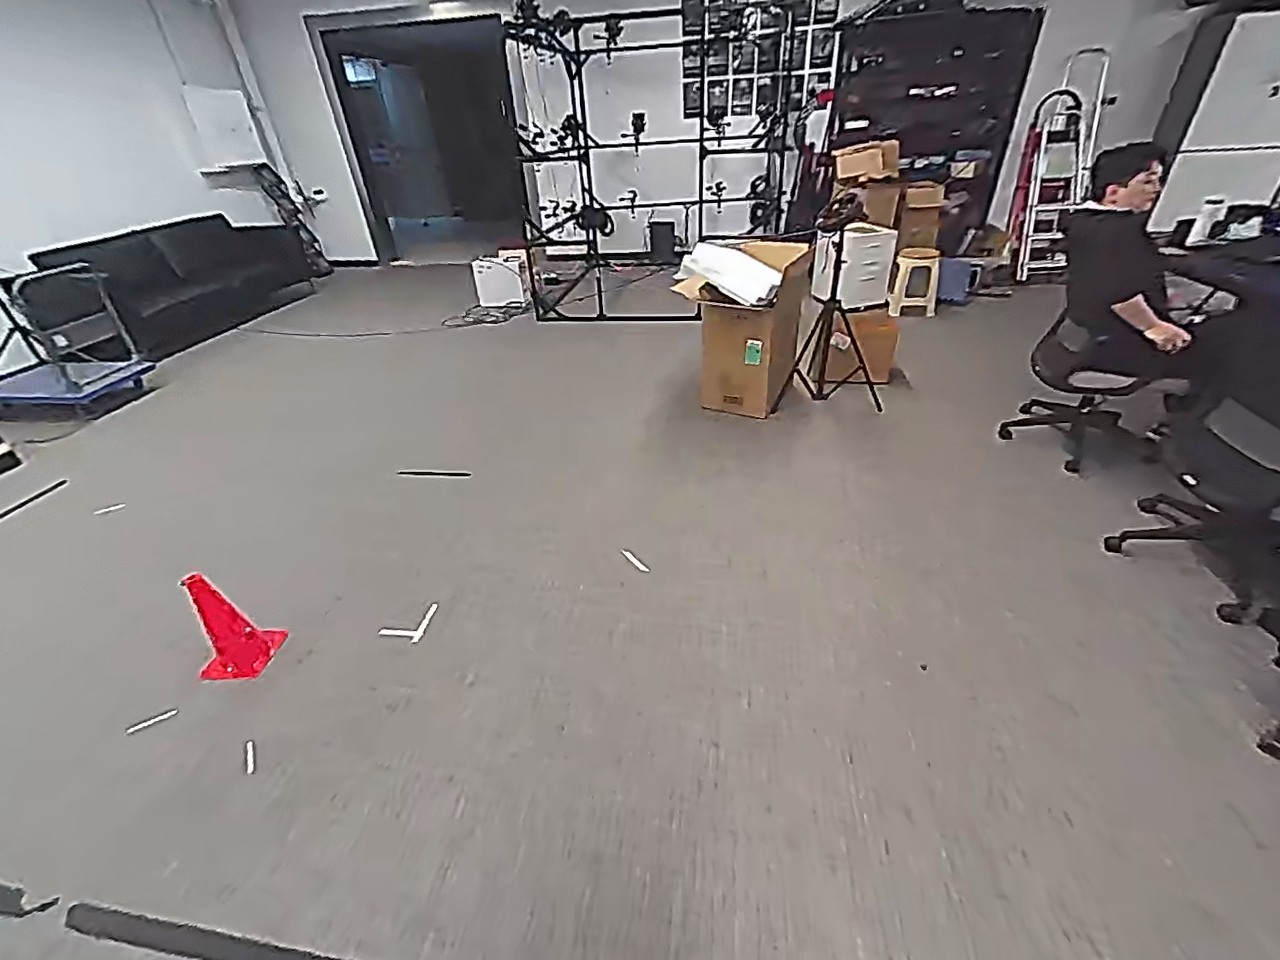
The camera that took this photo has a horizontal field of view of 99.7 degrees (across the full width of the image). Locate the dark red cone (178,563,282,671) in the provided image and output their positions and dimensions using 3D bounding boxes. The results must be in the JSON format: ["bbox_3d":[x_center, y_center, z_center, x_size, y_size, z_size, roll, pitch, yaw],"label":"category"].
[{"bbox_3d":[-1.335,0.416,1.704,0.202,0.394,0.201,-2,35,3],"label":"dark red cone"}]
